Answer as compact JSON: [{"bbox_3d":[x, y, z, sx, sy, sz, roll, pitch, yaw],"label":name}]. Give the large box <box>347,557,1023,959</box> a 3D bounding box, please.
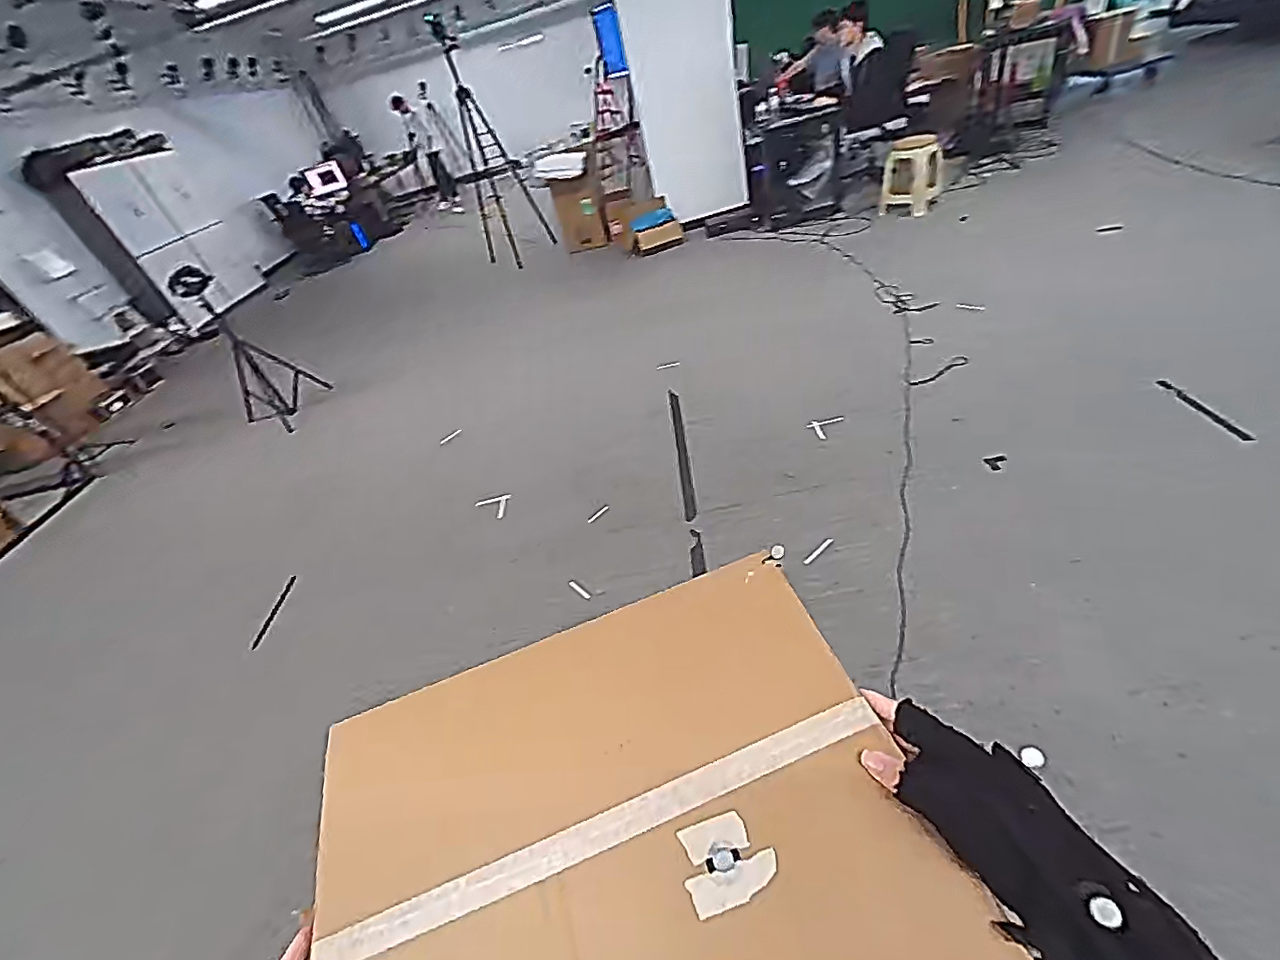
[{"bbox_3d":[0.011,0.340,0.492,0.408,0.320,0.320,-20,48,-6],"label":"large box"}]
